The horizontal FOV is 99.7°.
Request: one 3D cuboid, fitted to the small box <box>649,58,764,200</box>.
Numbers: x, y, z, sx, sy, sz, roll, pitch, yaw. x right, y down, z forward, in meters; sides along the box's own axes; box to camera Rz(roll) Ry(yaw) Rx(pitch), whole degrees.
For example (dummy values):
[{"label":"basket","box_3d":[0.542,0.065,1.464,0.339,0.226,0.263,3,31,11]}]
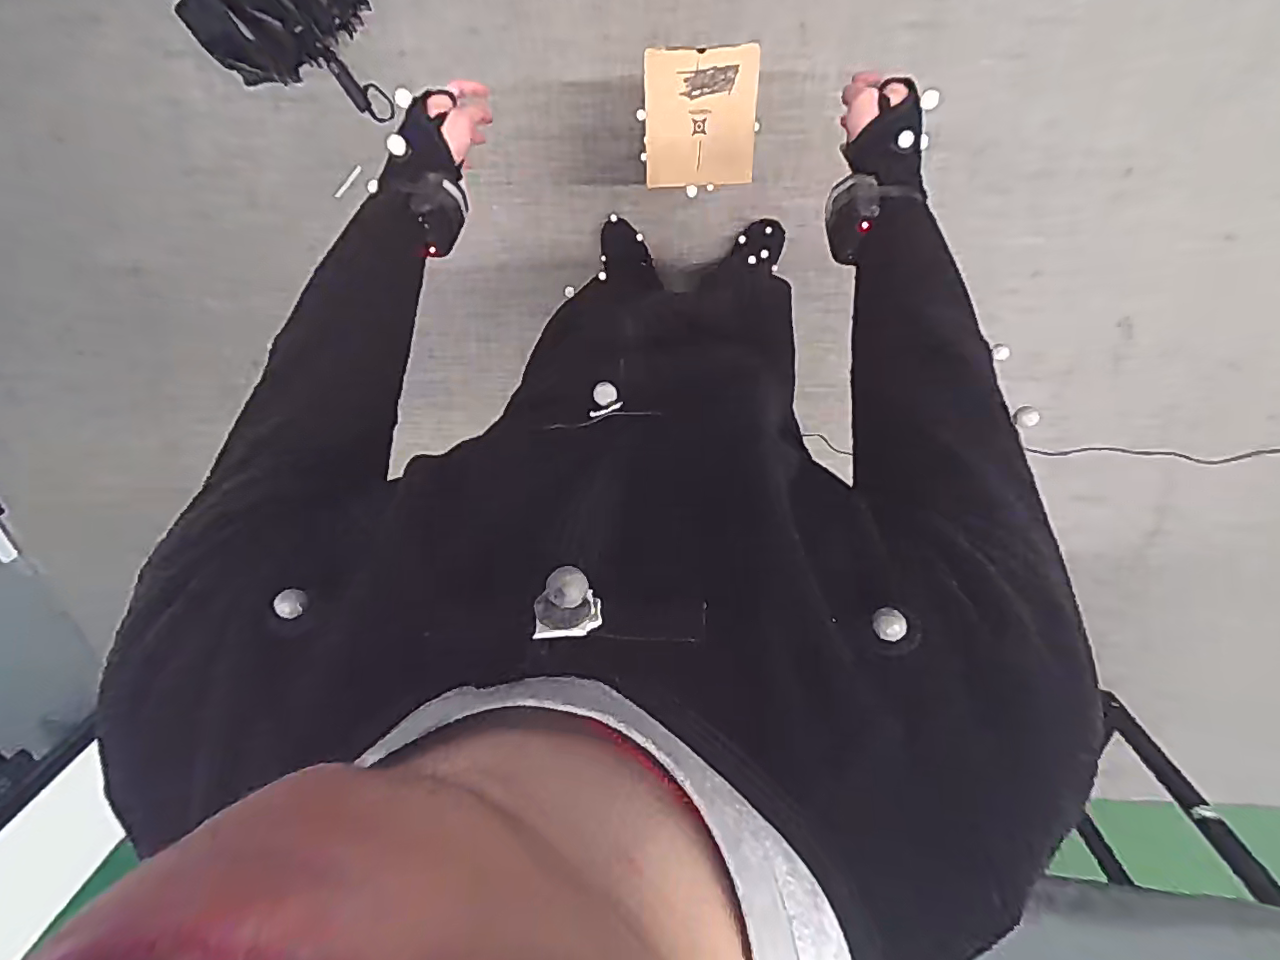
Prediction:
[{"label":"small box","box_3d":[0.097,-0.552,0.870,0.168,0.176,0.179,0,119,3]}]
